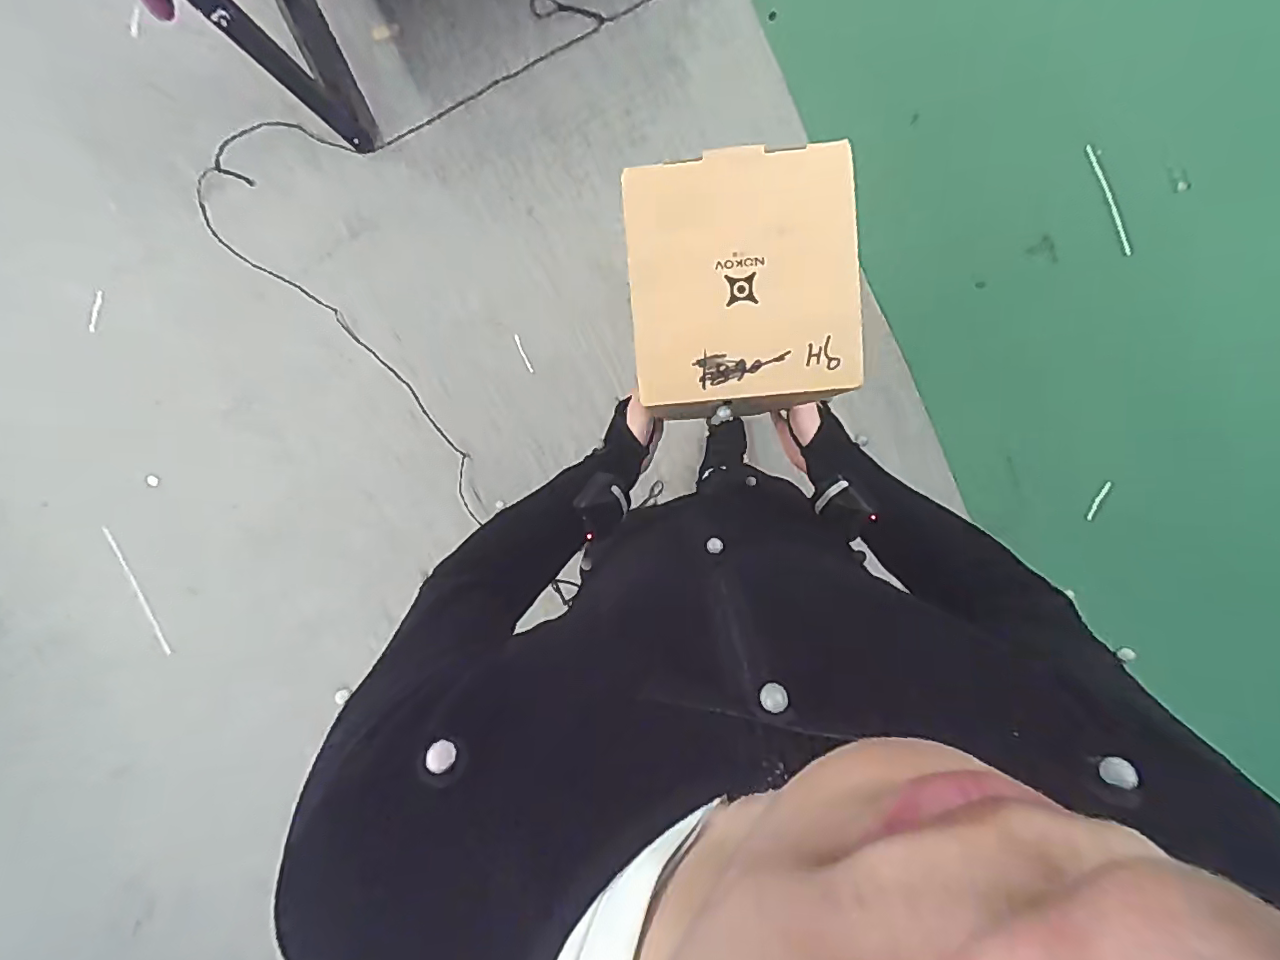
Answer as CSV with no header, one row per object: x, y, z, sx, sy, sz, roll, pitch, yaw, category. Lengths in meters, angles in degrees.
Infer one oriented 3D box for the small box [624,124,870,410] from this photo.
0.080,-0.157,0.458,0.168,0.176,0.179,-4,94,5,small box
